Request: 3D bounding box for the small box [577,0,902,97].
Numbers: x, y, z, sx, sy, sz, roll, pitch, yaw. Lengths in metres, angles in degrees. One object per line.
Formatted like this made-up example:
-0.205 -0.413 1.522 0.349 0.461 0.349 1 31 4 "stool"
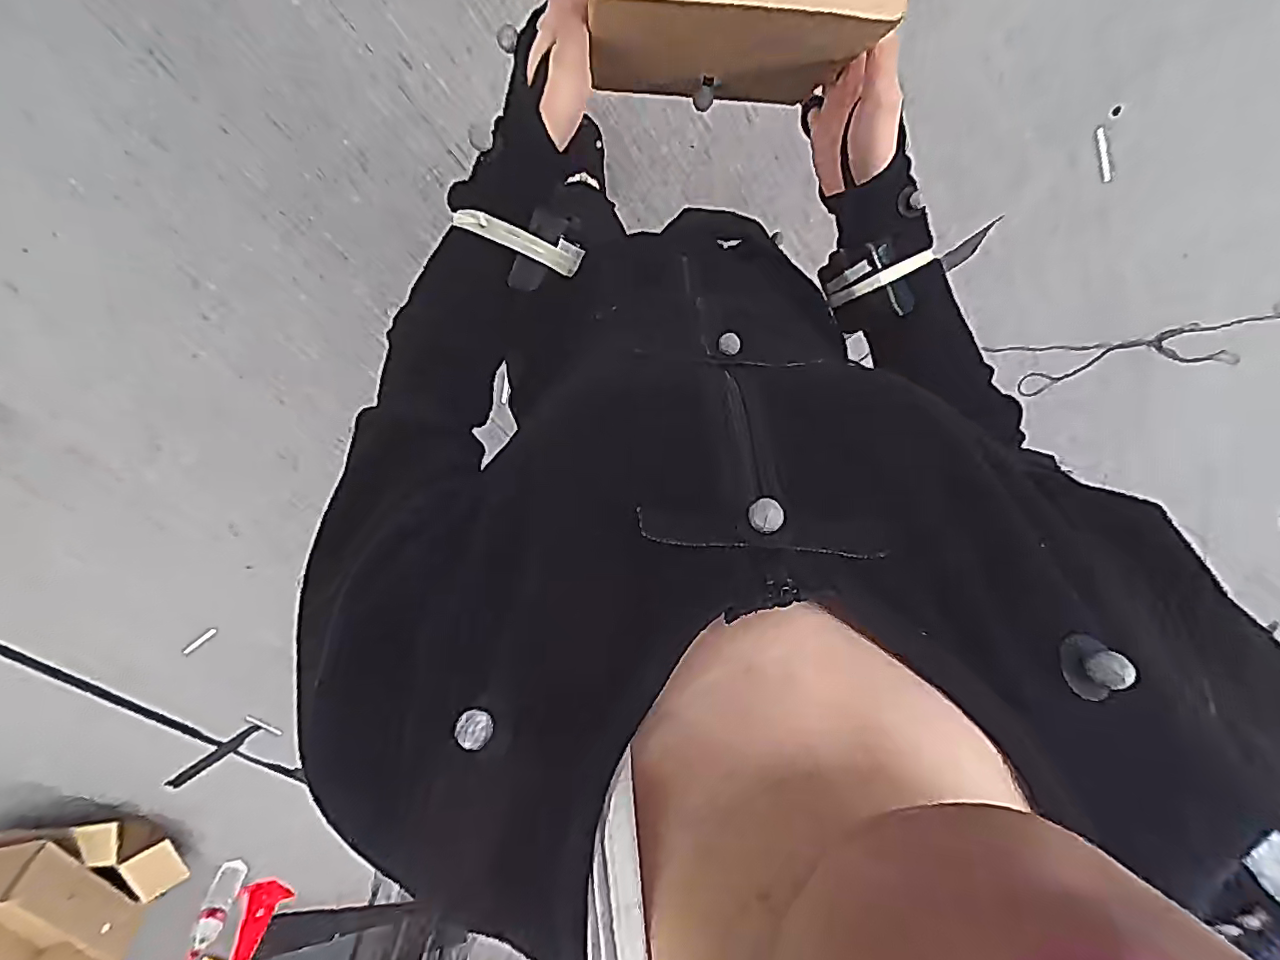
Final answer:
0.053 -0.360 0.333 0.179 0.176 0.168 0 110 -7 "small box"
